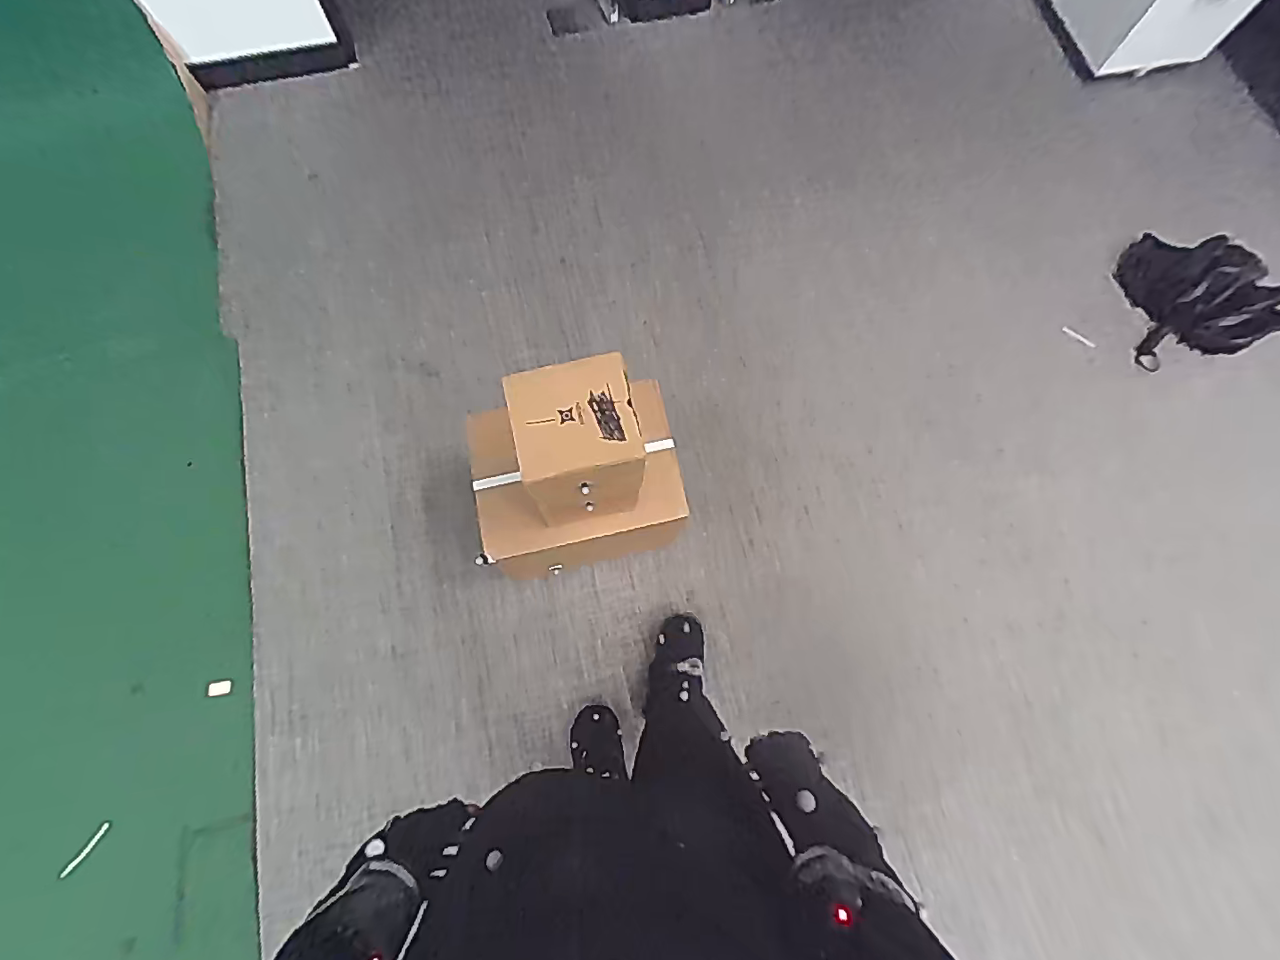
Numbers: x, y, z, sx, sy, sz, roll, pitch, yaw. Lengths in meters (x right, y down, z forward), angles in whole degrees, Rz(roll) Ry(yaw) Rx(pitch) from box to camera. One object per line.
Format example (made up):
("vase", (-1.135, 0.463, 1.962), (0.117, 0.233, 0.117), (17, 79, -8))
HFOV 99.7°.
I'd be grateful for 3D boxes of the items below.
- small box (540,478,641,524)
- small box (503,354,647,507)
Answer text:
("small box", (-0.100, -0.027, 0.993), (0.179, 0.176, 0.168), (-14, 76, -6))
("small box", (-0.094, -0.068, 0.834), (0.179, 0.176, 0.168), (-14, 75, -3))
